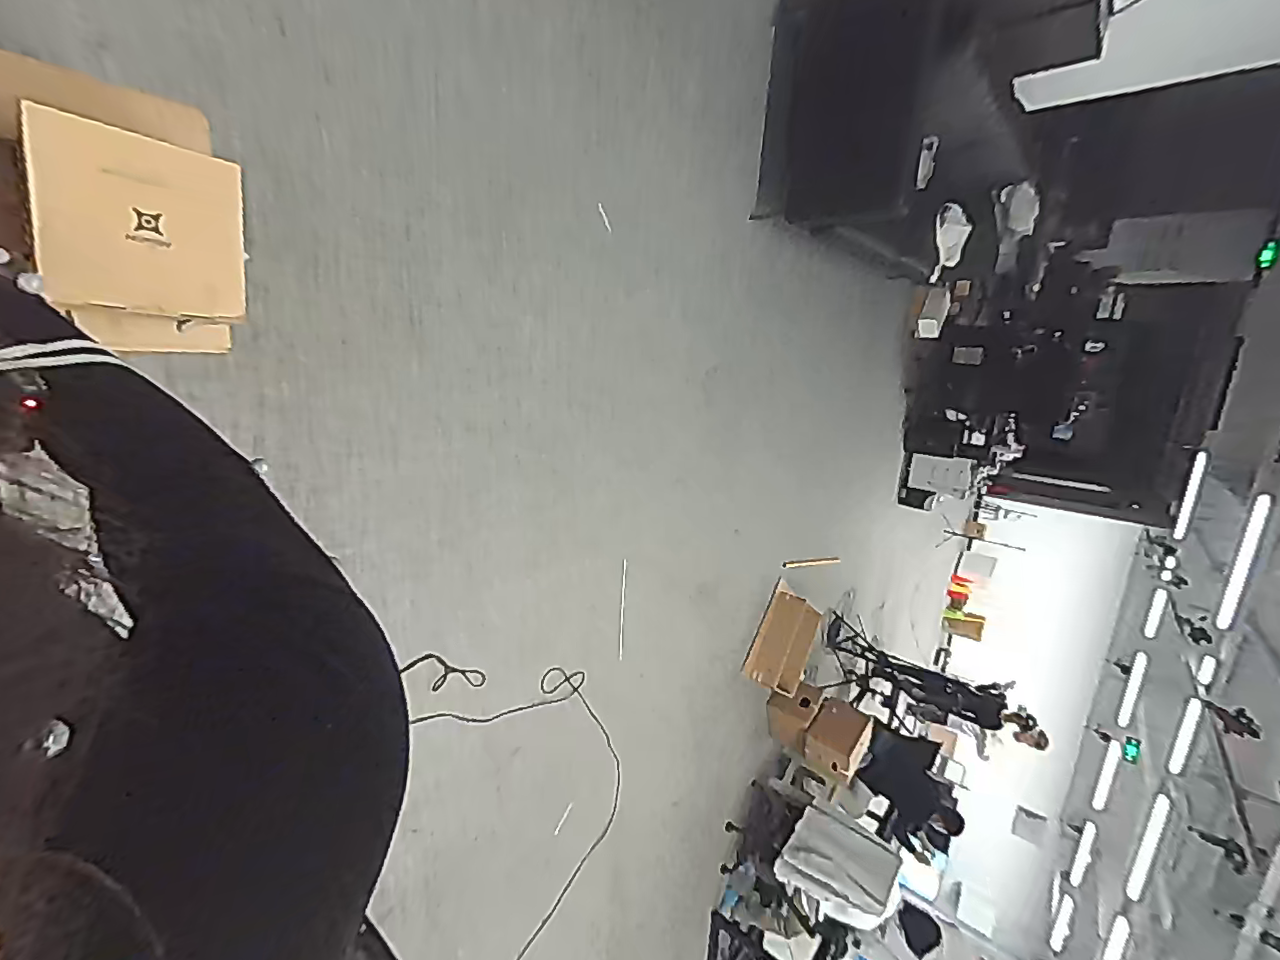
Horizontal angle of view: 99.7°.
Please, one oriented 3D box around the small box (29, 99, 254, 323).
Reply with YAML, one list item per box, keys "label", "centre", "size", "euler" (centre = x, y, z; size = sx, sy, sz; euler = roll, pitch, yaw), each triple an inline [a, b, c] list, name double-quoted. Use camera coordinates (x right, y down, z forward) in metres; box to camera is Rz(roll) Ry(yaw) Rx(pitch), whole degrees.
- label: "small box"
  centre: [-0.557, -0.277, 0.609]
  size: [0.168, 0.176, 0.179]
  euler: [-7, 105, -49]
